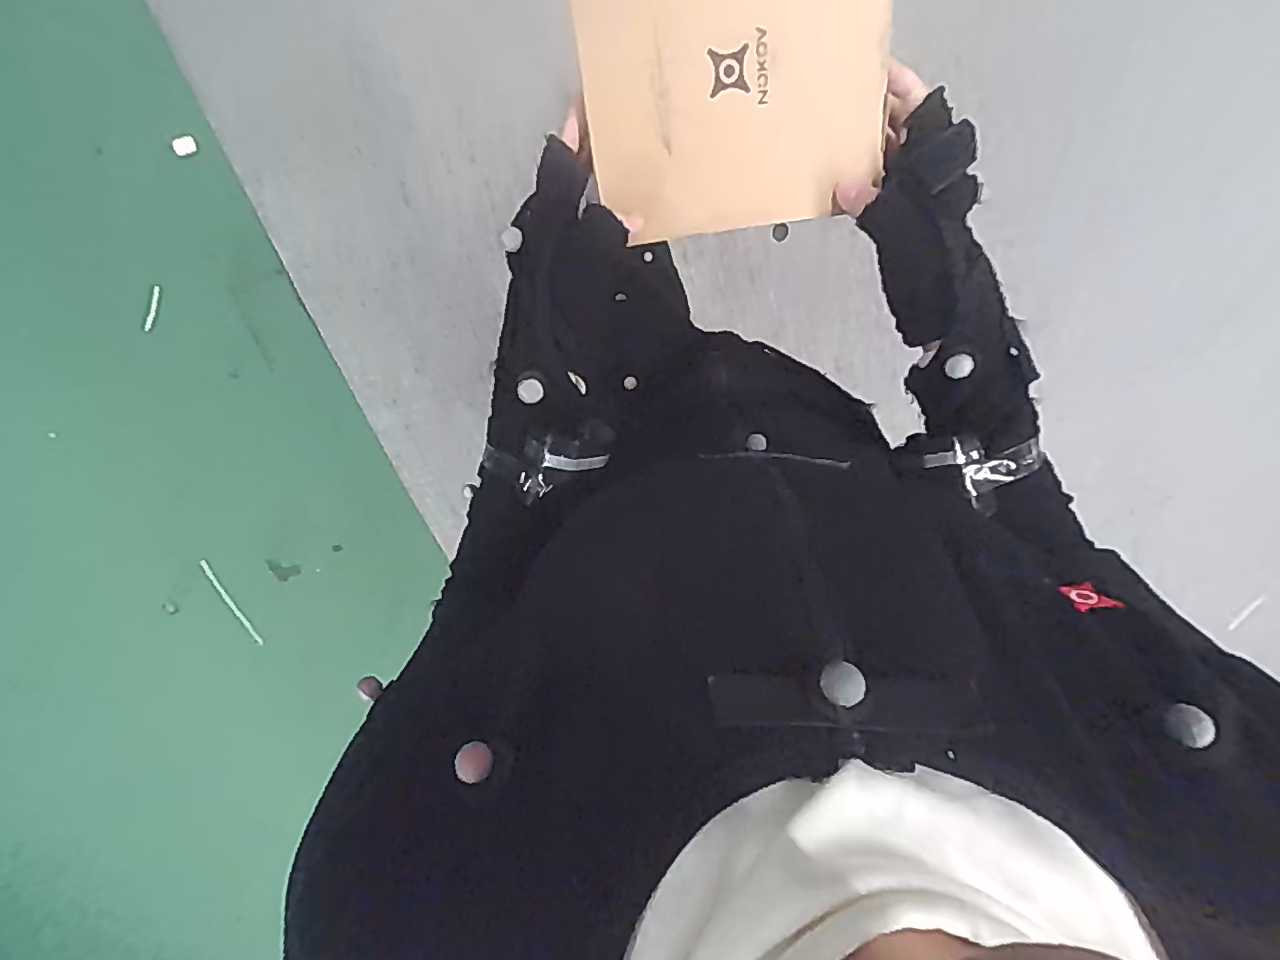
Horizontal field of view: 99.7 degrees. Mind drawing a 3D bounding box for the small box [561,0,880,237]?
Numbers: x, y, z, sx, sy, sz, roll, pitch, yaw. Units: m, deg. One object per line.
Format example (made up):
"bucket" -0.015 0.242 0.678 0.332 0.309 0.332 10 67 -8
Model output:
"small box" 0.047 -0.274 0.376 0.179 0.176 0.168 -8 116 4
